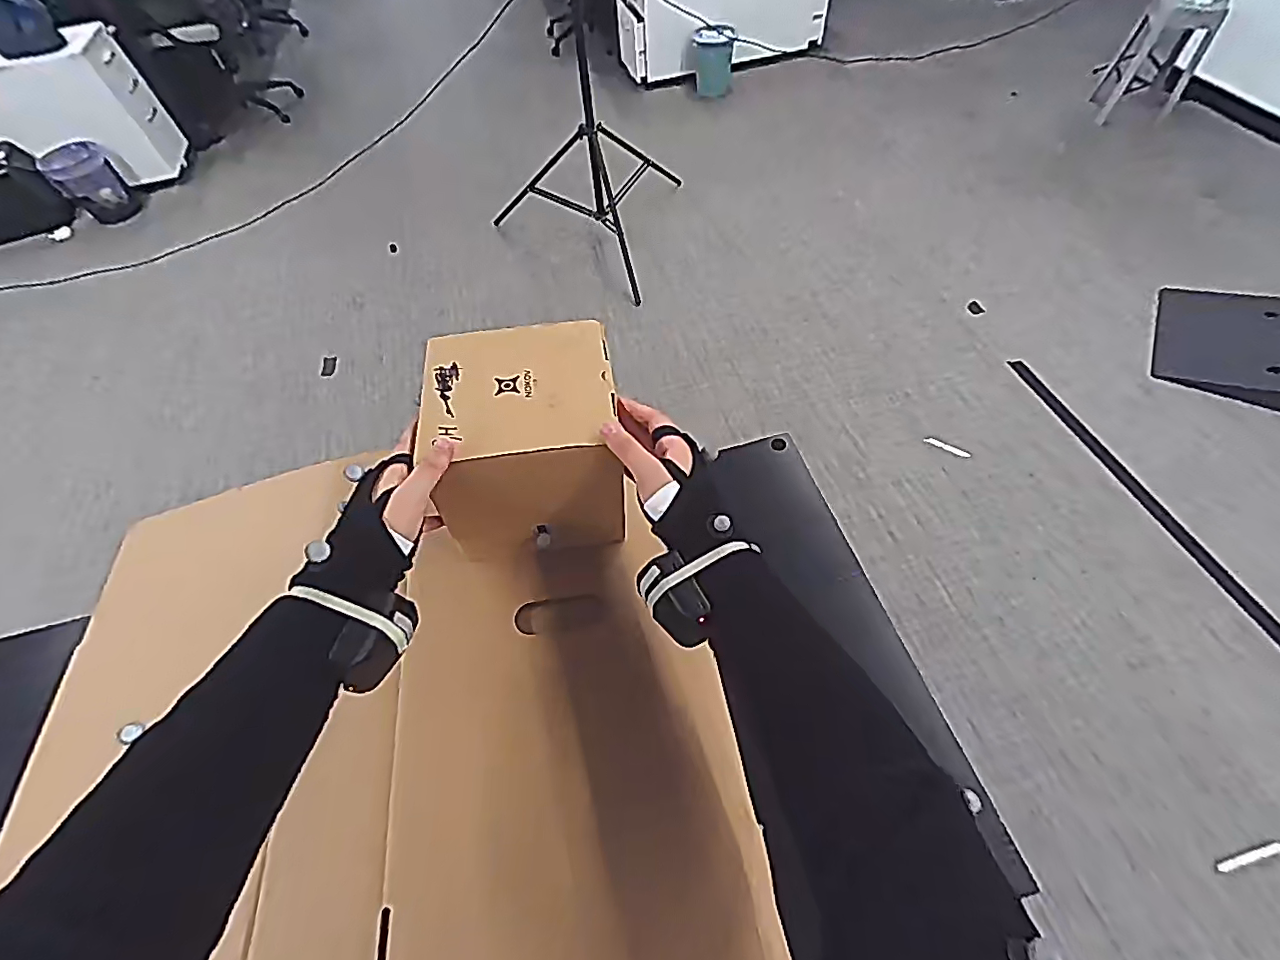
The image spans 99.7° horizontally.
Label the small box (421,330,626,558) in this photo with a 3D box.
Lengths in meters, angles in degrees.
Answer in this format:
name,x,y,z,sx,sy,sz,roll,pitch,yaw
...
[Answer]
name,x,y,z,sx,sy,sz,roll,pitch,yaw
small box,-0.112,-0.034,0.571,0.179,0.176,0.168,-7,54,-6
